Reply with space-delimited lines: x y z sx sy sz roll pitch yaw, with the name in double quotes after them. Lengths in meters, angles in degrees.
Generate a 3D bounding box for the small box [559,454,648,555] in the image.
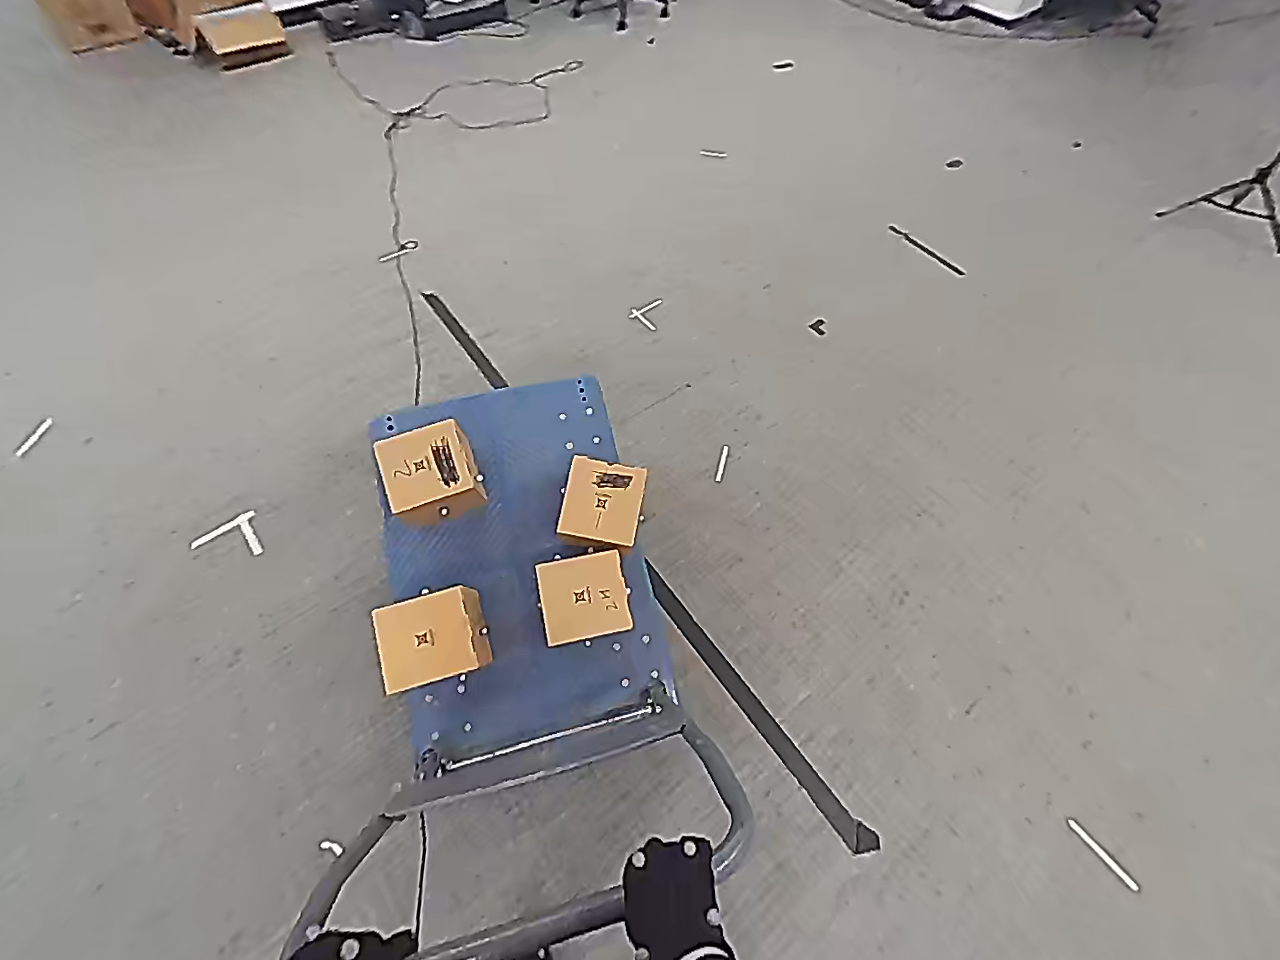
-0.084 0.062 1.231 0.168 0.176 0.179 12 75 -1 "small box"

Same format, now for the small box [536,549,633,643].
-0.118 0.256 1.175 0.179 0.176 0.168 -10 76 -7 "small box"

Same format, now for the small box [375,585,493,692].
-0.423 0.329 1.131 0.179 0.176 0.168 -15 77 -10 "small box"
